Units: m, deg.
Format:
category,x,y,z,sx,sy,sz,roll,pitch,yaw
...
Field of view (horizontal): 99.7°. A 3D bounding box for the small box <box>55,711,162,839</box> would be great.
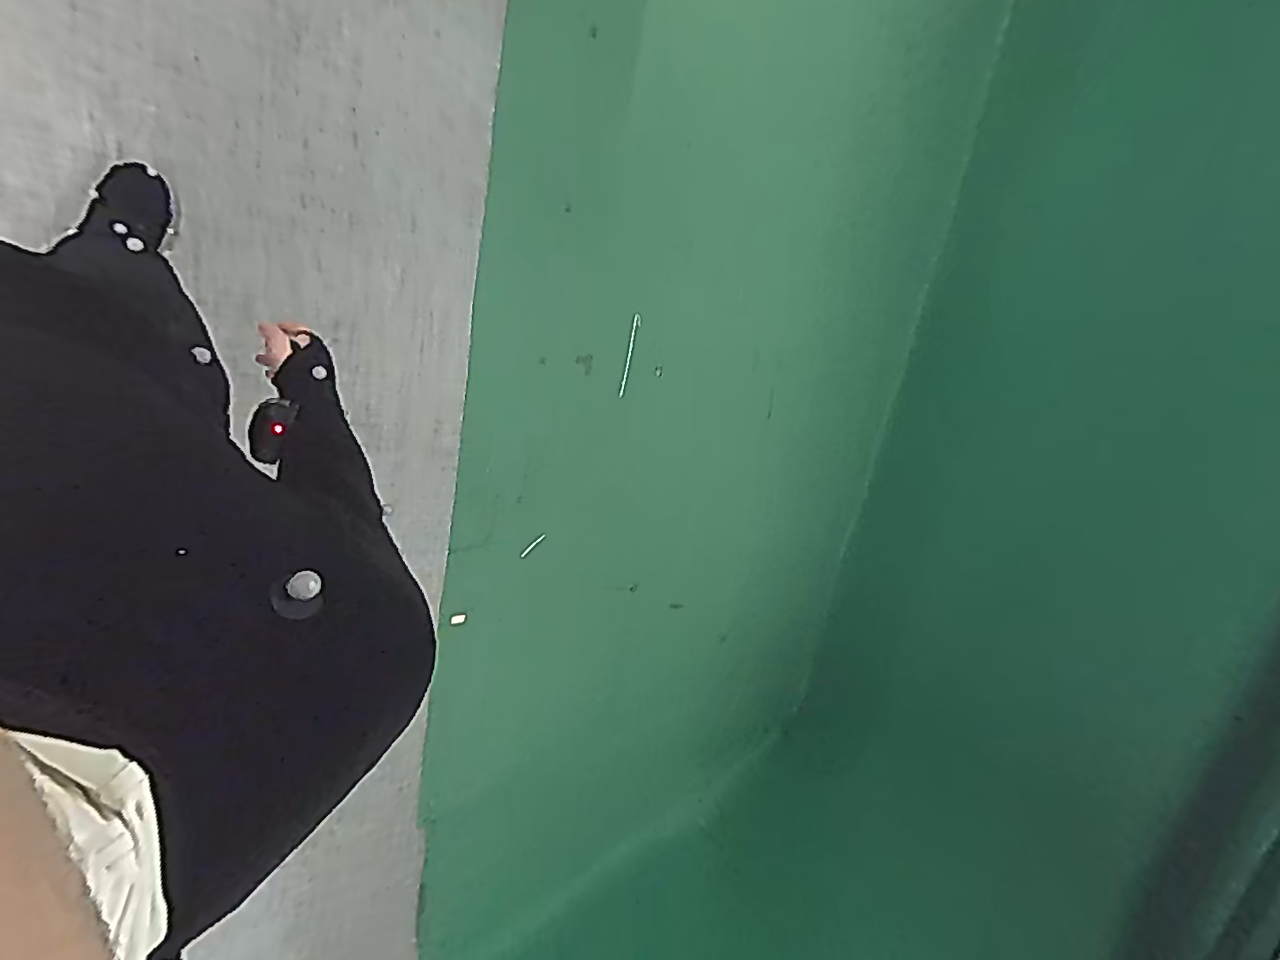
category,x,y,z,sx,sy,sz,roll,pitch,yaw
small box,-1.242,0.681,1.270,0.168,0.176,0.179,4,106,-45
